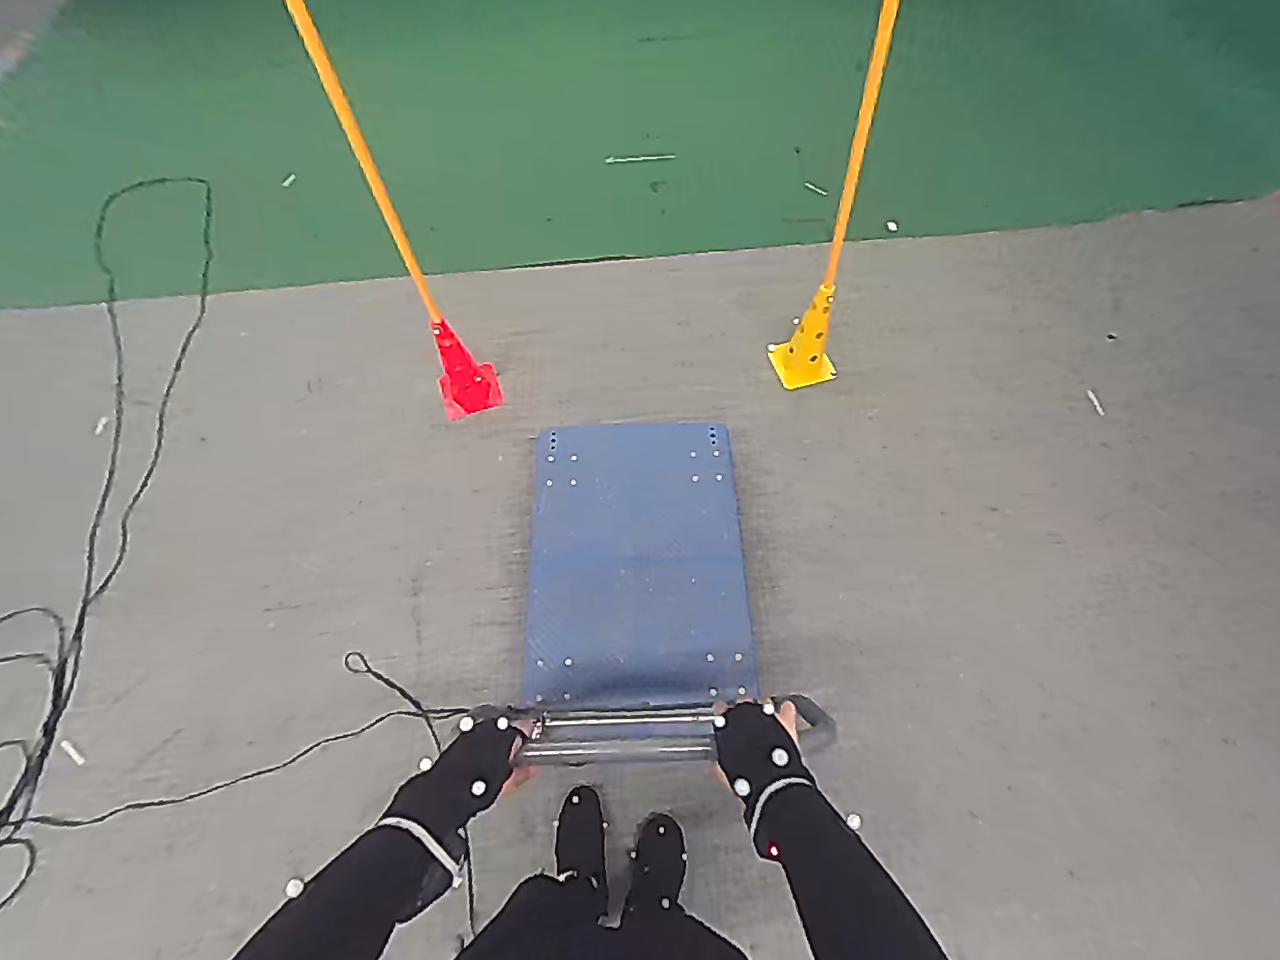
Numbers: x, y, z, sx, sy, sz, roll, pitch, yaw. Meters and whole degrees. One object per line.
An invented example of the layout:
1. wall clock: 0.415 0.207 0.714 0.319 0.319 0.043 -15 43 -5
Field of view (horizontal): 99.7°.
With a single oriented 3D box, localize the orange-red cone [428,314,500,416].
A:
1. orange-red cone: -0.608 -0.398 1.757 0.199 0.360 0.198 -19 64 -7
